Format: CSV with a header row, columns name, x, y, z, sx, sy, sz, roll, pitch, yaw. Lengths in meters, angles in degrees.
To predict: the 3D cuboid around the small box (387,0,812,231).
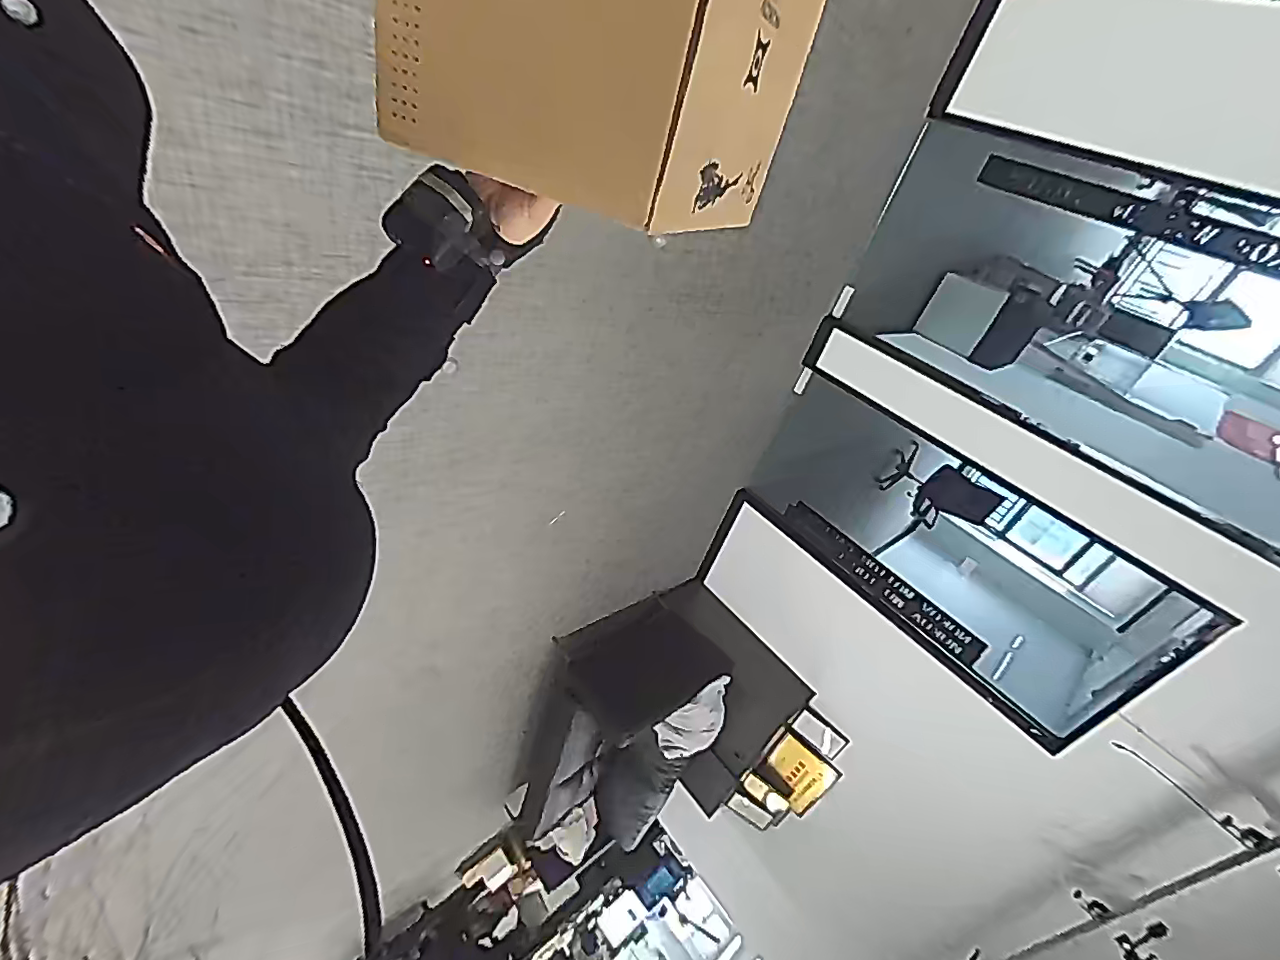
name,x,y,z,sx,sy,sz,roll,pitch,yaw
small box,-0.015,-0.252,0.295,0.168,0.176,0.179,-42,153,-53
